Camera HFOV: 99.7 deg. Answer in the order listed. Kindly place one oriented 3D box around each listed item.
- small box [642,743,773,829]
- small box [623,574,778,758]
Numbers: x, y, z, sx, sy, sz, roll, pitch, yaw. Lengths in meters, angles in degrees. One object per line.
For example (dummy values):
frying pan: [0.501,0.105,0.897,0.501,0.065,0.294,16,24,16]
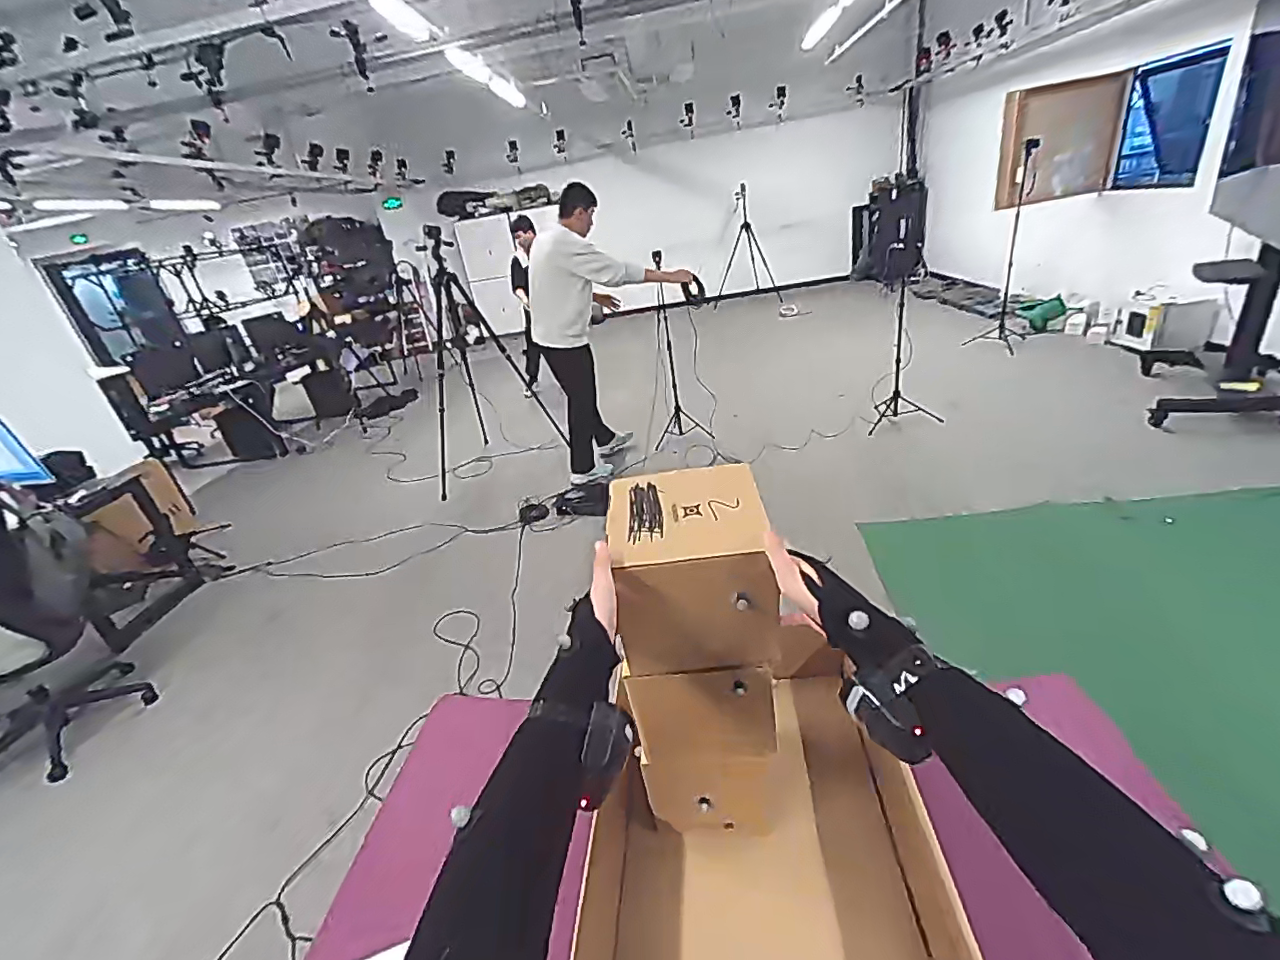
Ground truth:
small box: [0.104,0.391,0.807,0.168,0.176,0.179,-6,28,9]
small box: [0.082,0.250,0.729,0.179,0.176,0.168,-7,28,7]
